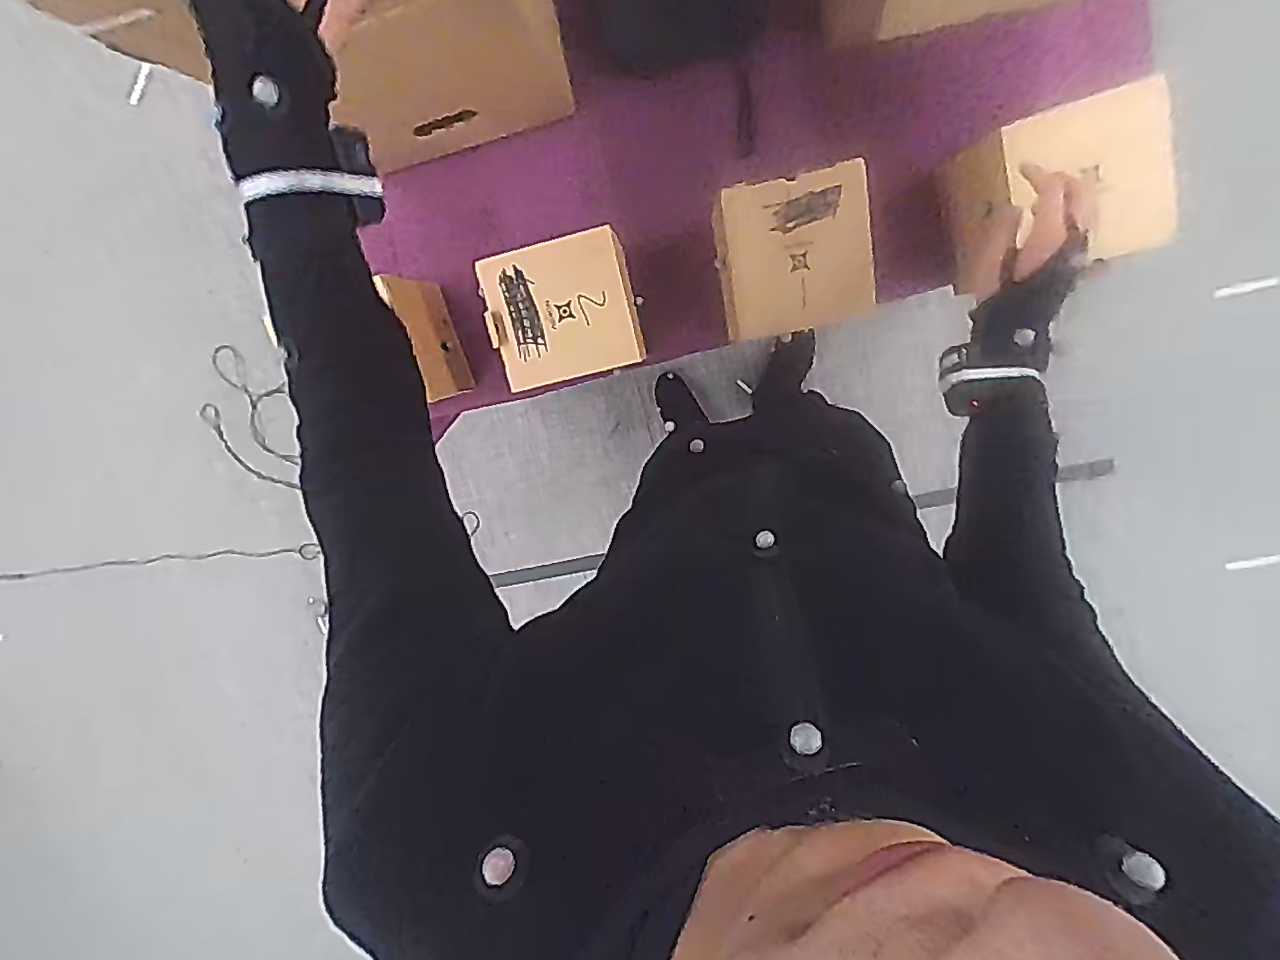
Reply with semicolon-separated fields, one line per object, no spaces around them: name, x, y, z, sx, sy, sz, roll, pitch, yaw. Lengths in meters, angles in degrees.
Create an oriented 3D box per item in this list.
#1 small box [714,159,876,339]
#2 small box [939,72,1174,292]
small box;0.193;-0.287;0.712;0.168;0.176;0.179;-9;105;7
small box;0.498;-0.347;0.670;0.168;0.176;0.179;-15;104;9
